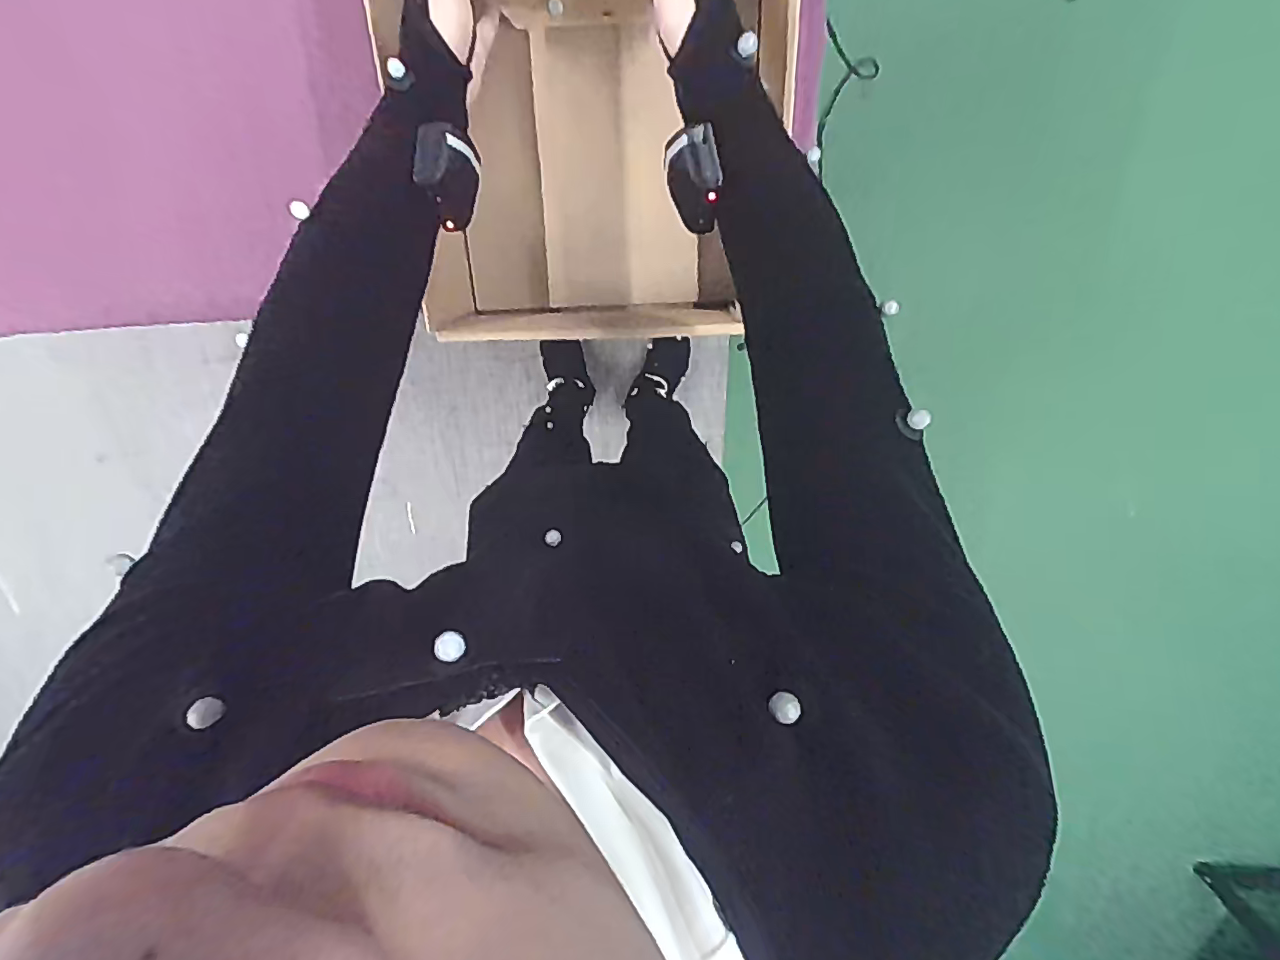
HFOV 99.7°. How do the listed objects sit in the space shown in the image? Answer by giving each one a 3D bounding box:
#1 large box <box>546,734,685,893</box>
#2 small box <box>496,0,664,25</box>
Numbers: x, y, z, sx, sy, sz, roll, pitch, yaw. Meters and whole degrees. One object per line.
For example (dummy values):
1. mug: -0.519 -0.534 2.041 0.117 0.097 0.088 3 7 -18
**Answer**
1. large box: -0.086 1.249 2.039 0.408 0.320 0.320 -32 110 13
2. small box: -0.062 -0.532 0.476 0.168 0.176 0.179 0 115 4
